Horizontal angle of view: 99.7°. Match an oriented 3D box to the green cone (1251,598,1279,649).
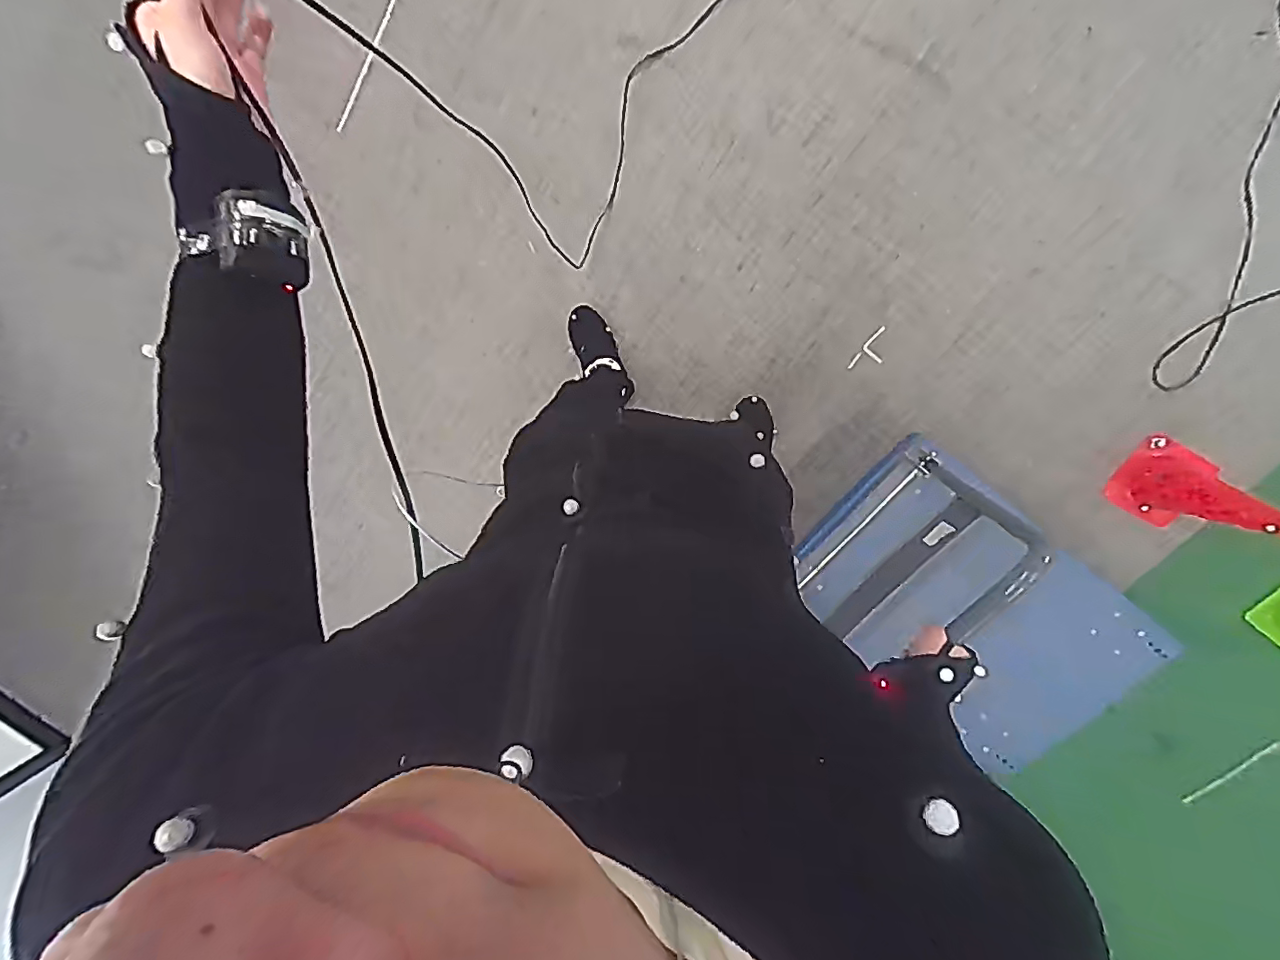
[{"bbox_3d":[1.737,0.411,1.260,0.202,0.368,0.200,37,107,-3],"label":"green cone"}]
